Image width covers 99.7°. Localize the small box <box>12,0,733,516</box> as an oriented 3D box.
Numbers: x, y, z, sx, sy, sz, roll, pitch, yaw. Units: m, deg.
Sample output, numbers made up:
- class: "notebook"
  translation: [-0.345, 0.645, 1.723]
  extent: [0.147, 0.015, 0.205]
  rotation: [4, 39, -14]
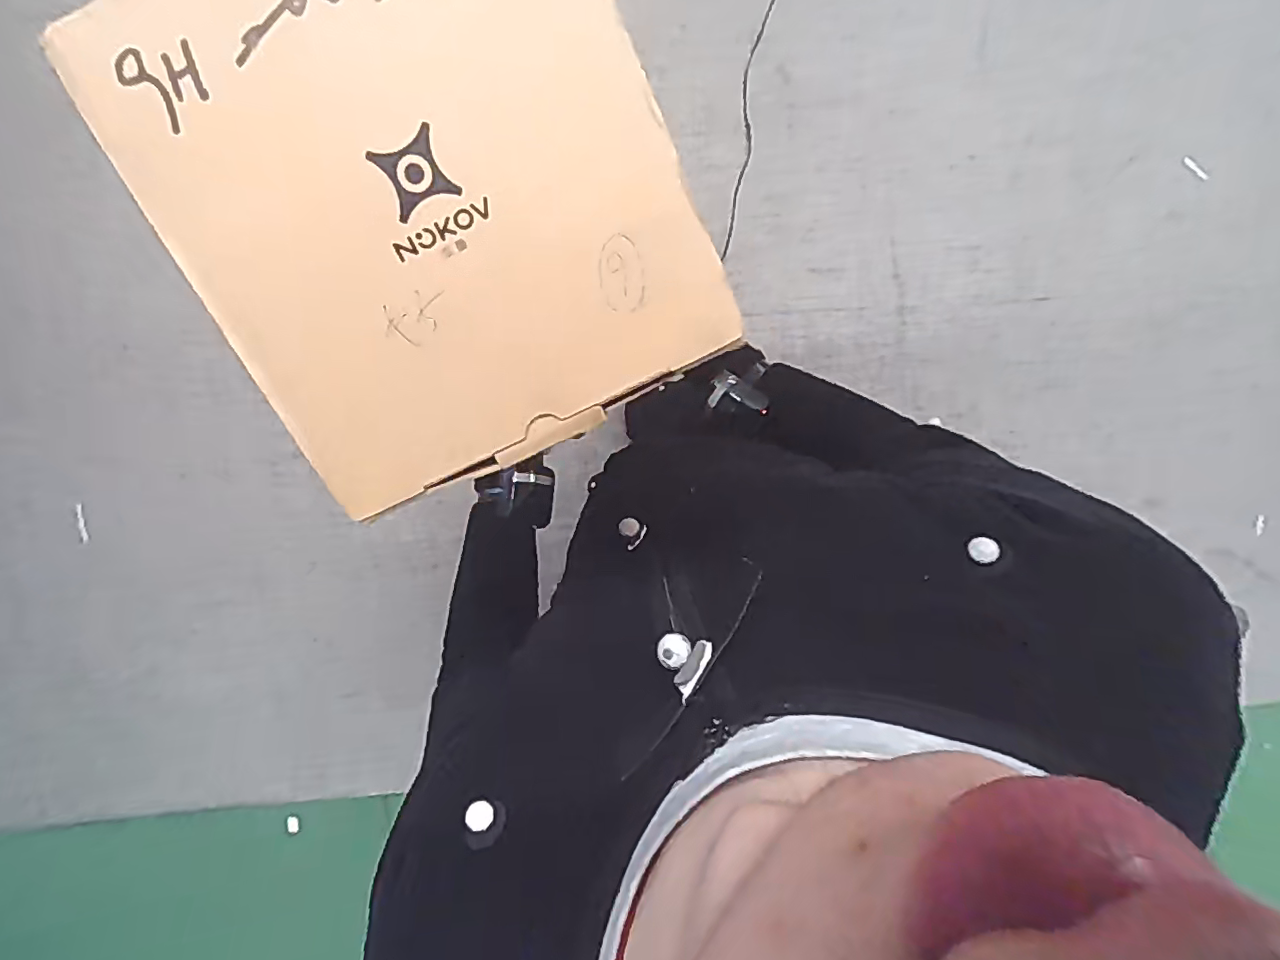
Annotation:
- class: "small box"
  translation: [-0.077, -0.115, 0.250]
  extent: [0.168, 0.176, 0.179]
  rotation: [-25, 106, 3]
